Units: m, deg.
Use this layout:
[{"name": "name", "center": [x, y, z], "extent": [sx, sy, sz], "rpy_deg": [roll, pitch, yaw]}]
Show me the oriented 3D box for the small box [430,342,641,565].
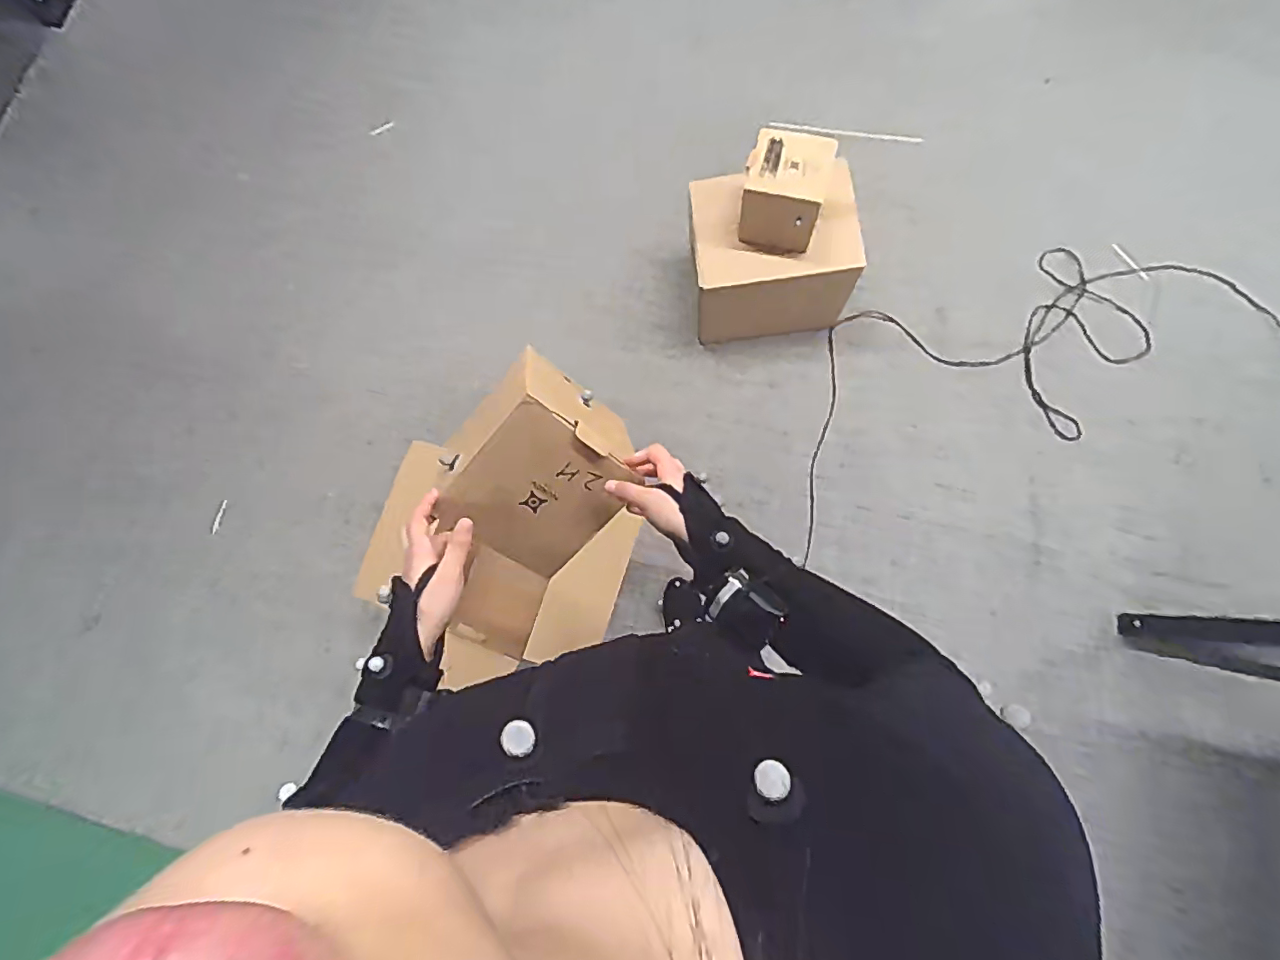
[{"name": "small box", "center": [-0.124, -0.037, 0.662], "extent": [0.168, 0.176, 0.179], "rpy_deg": [36, 107, -27]}]
